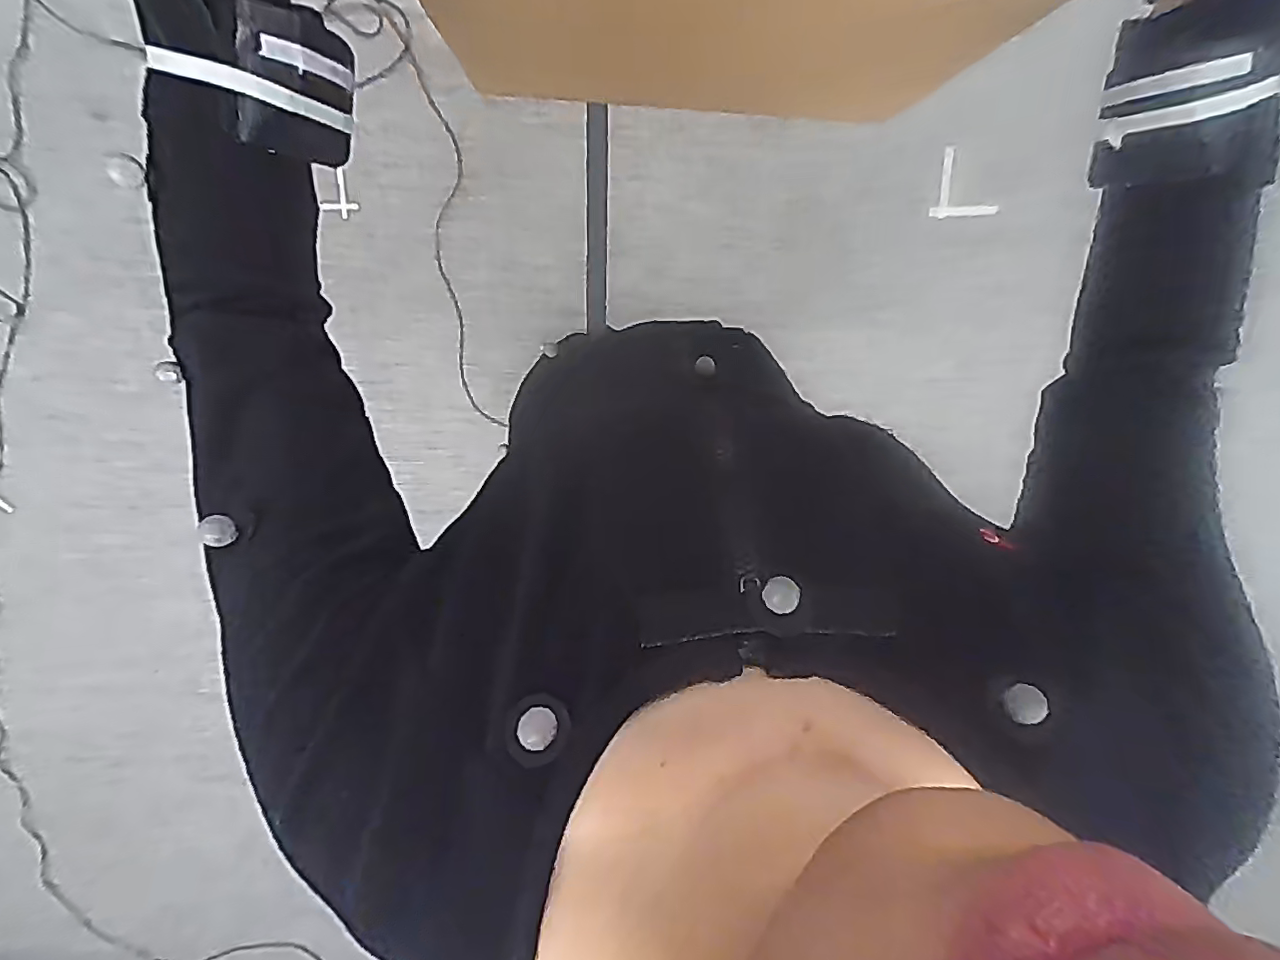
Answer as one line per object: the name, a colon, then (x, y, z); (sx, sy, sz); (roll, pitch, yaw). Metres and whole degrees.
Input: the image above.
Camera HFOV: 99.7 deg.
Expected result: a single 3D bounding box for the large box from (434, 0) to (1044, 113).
large box: (0.060, -0.461, 0.337); (0.408, 0.320, 0.320); (1, 109, -4)
